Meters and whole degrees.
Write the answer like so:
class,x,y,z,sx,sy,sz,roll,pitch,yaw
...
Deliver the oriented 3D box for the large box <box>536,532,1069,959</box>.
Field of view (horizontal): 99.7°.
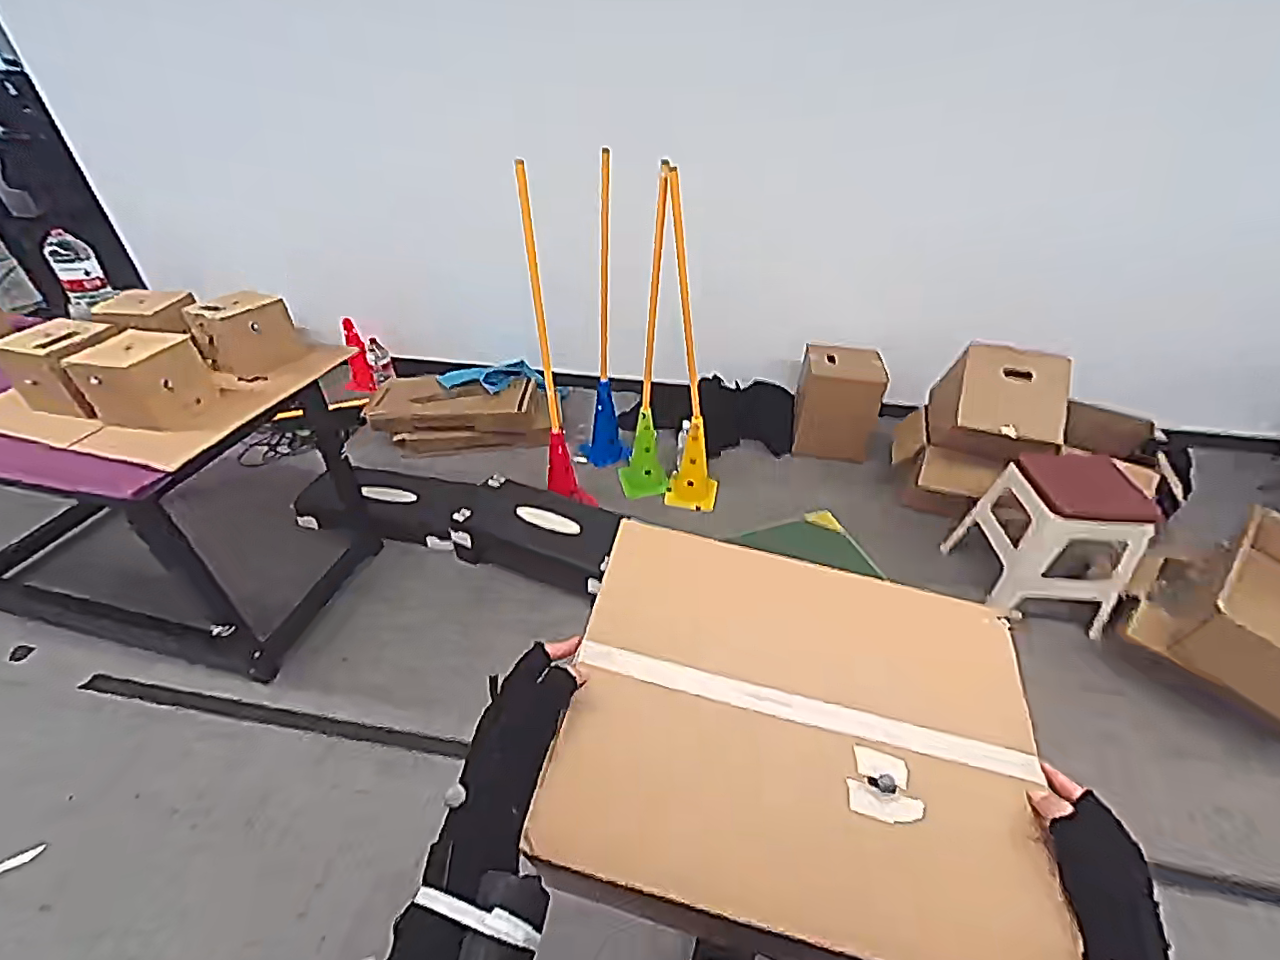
class,x,y,z,sx,sy,sz,roll,pitch,yaw
large box,0.130,0.304,0.600,0.408,0.320,0.320,13,51,5
